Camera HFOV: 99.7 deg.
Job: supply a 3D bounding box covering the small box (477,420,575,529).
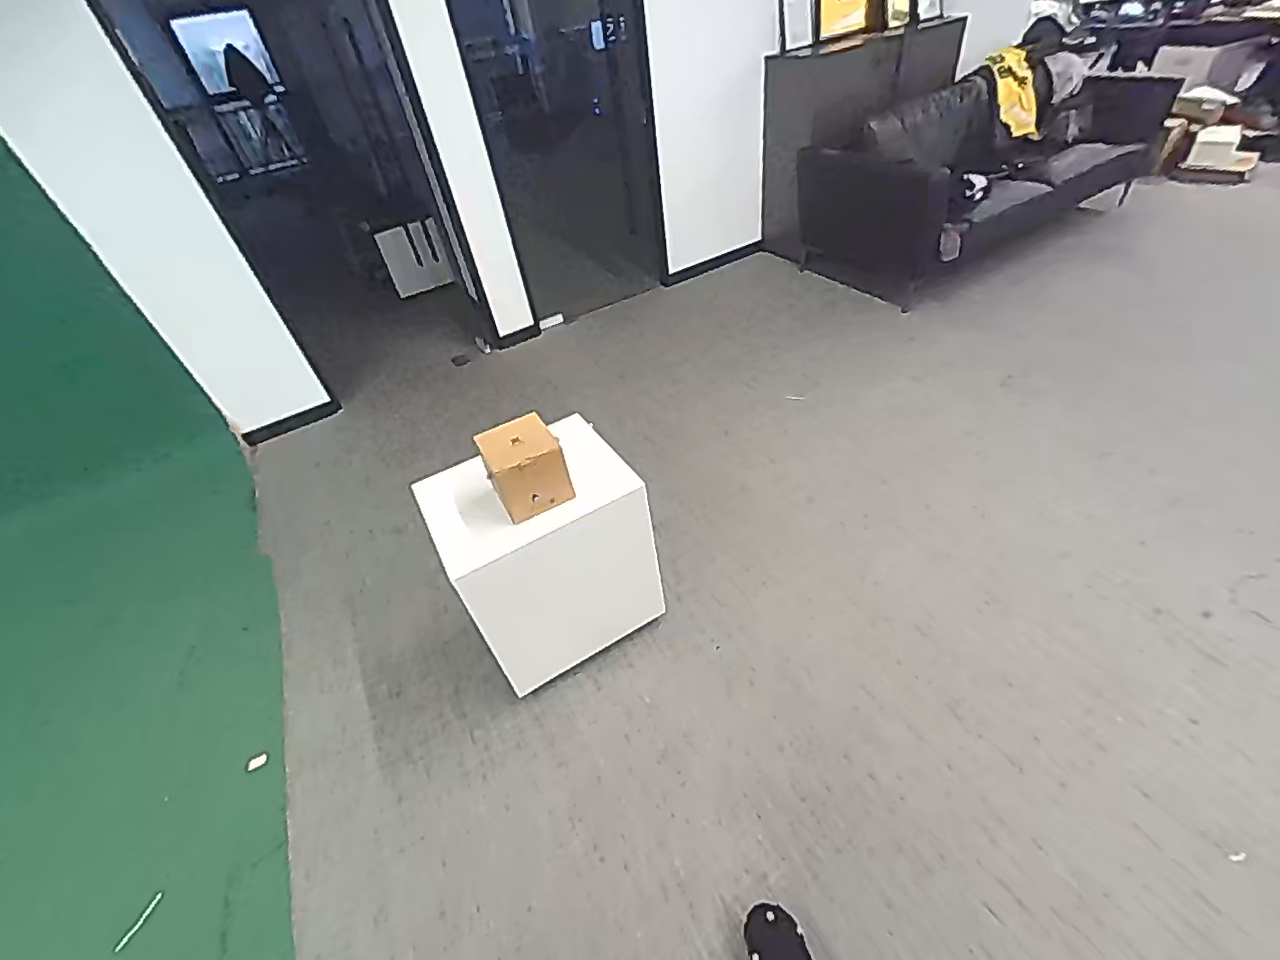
[{"bbox_3d":[-0.275,-0.013,1.317,0.168,0.176,0.179,-25,43,-17],"label":"small box"}]
